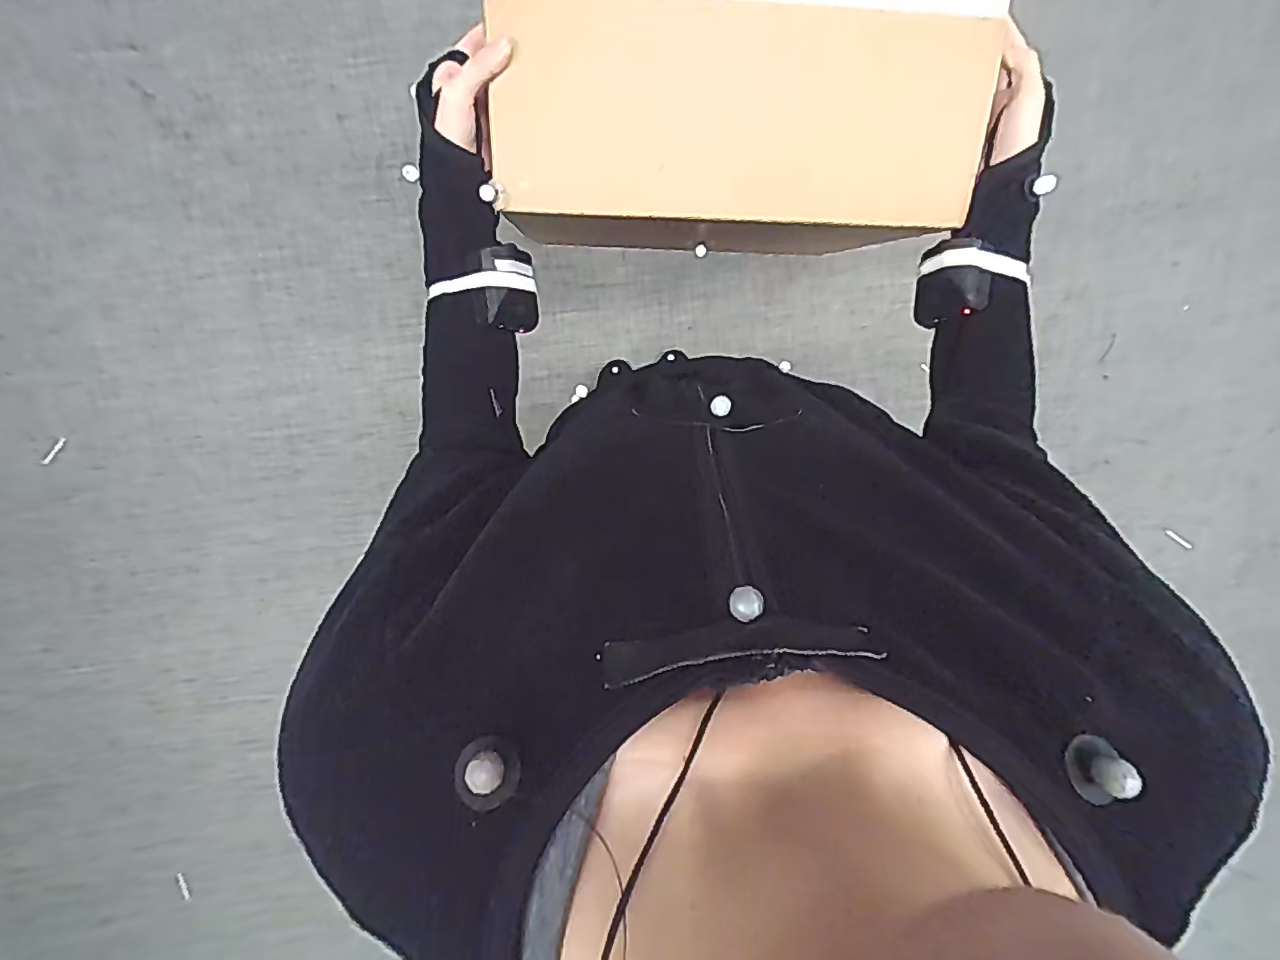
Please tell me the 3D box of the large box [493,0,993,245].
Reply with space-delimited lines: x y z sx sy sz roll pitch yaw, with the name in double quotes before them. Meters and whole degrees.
"large box" 0.076 -0.422 0.563 0.408 0.320 0.320 0 108 -4
